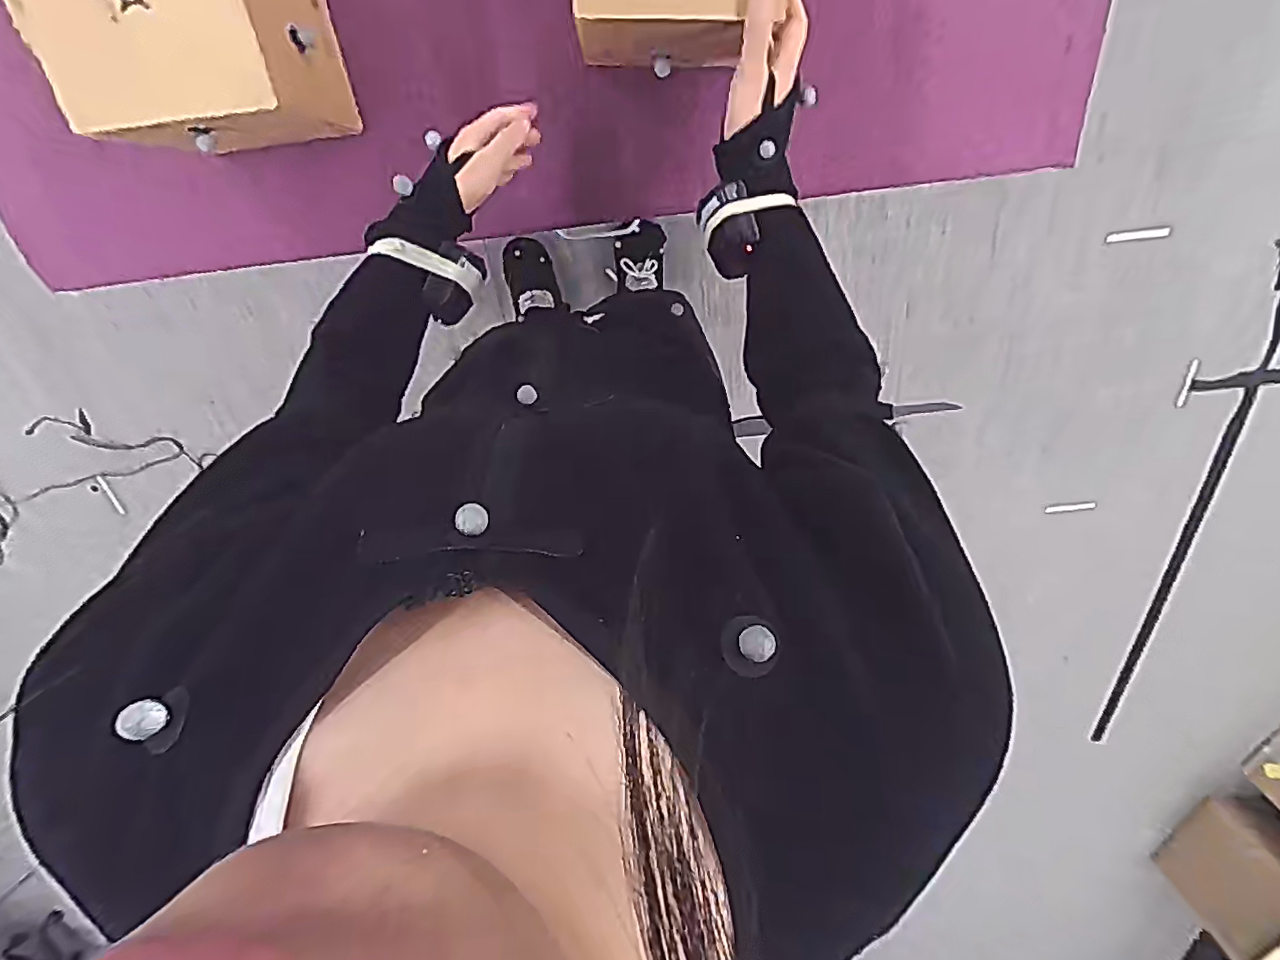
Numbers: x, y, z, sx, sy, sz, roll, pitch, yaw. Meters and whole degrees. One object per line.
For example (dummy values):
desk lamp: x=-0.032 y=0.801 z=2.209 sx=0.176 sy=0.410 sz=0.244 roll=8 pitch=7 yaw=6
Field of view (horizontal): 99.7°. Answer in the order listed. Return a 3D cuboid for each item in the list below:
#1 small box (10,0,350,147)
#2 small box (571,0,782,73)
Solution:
small box: x=-0.386 y=-0.401 z=0.474 sx=0.179 sy=0.176 sz=0.168 roll=-6 pitch=118 yaw=2
small box: x=0.027 y=-0.468 z=0.451 sx=0.168 sy=0.176 sz=0.179 roll=0 pitch=118 yaw=-2
